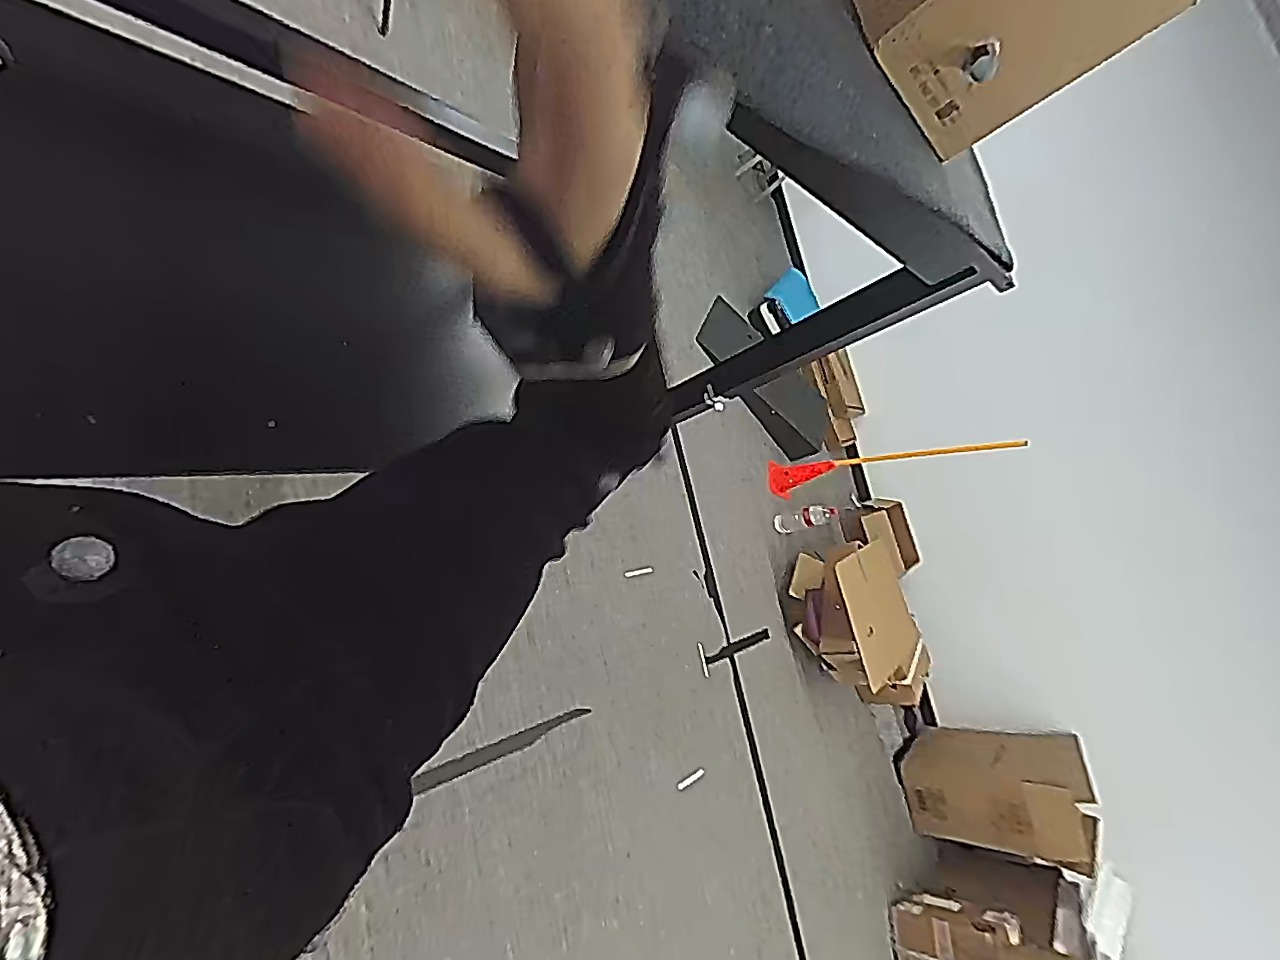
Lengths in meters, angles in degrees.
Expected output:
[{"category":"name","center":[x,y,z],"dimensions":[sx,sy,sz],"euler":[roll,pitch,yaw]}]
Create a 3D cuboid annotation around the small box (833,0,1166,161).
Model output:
[{"category":"small box","center":[0.245,-0.391,0.399],"dimensions":[0.168,0.176,0.179],"euler":[5,71,-45]}]
